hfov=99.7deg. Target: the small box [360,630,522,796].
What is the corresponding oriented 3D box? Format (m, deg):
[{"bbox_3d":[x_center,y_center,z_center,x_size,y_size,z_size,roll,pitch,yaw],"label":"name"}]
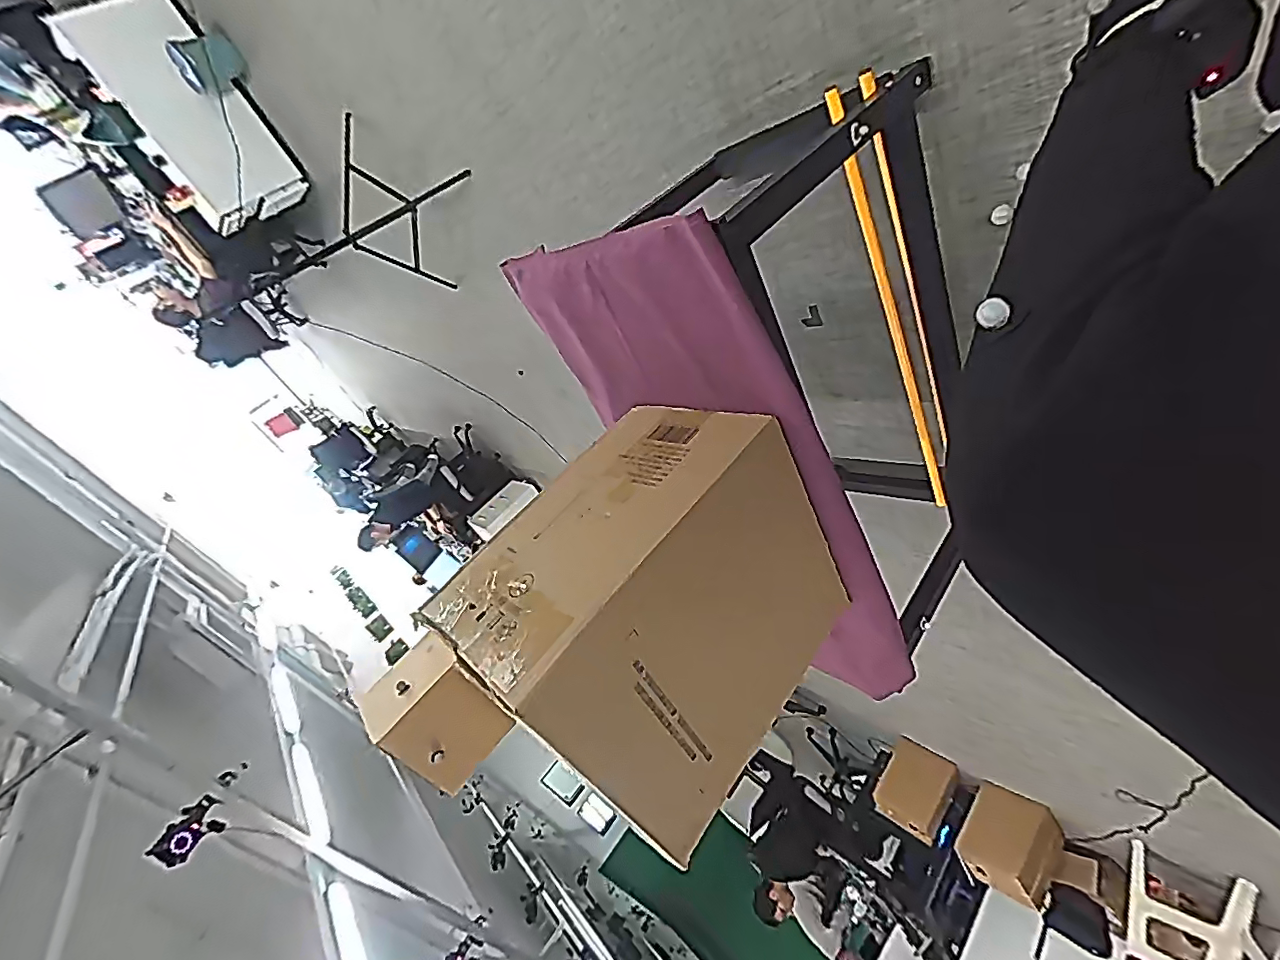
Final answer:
[{"bbox_3d":[-0.341,0.391,0.937,0.168,0.176,0.179,8,139,54],"label":"small box"}]
